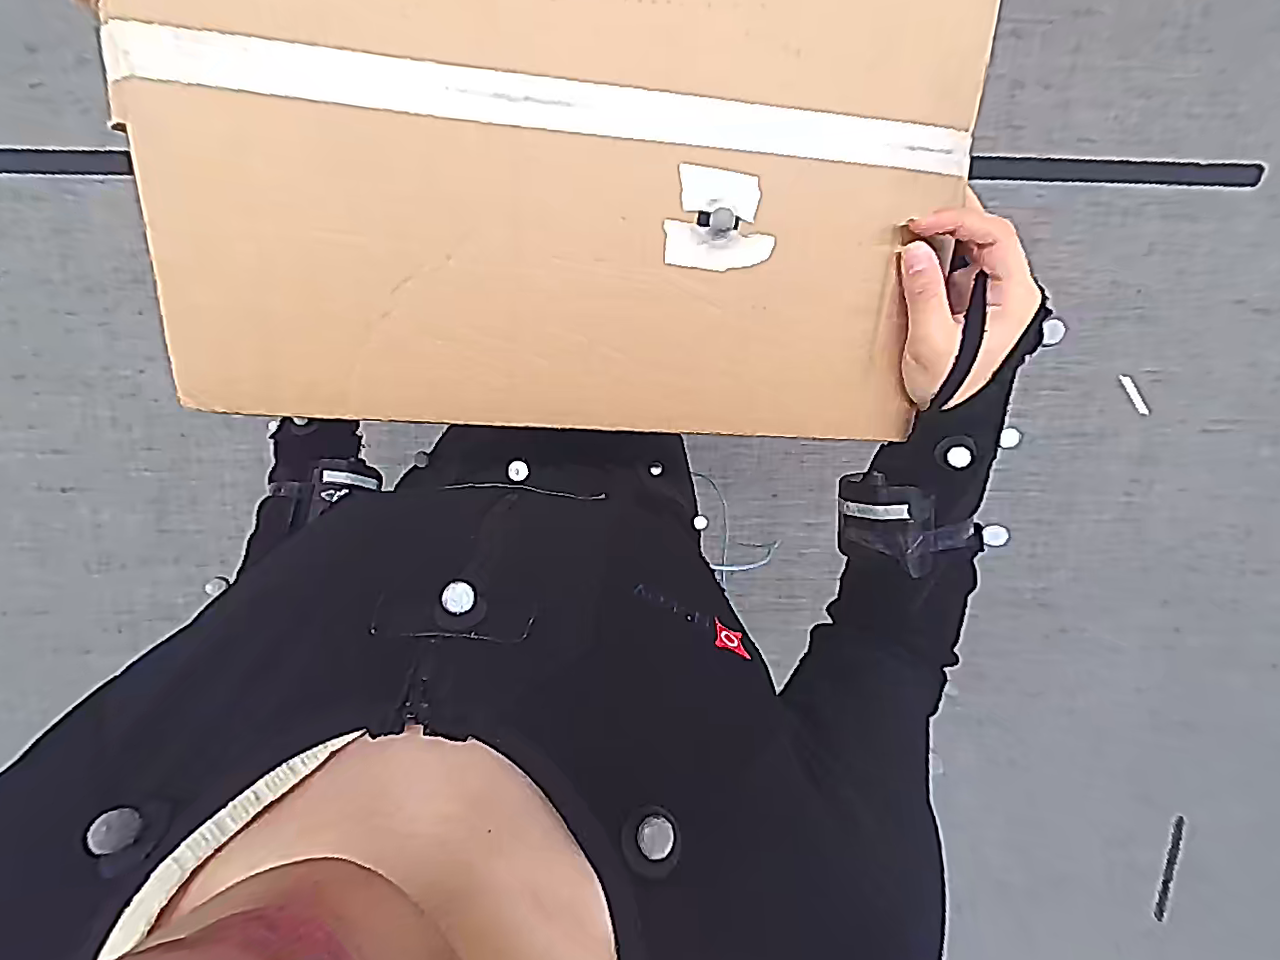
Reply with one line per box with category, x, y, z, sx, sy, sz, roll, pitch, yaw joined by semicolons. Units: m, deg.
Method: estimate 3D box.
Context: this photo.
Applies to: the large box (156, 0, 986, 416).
large box;-0.043;-0.229;0.413;0.408;0.320;0.320;1;106;-10
